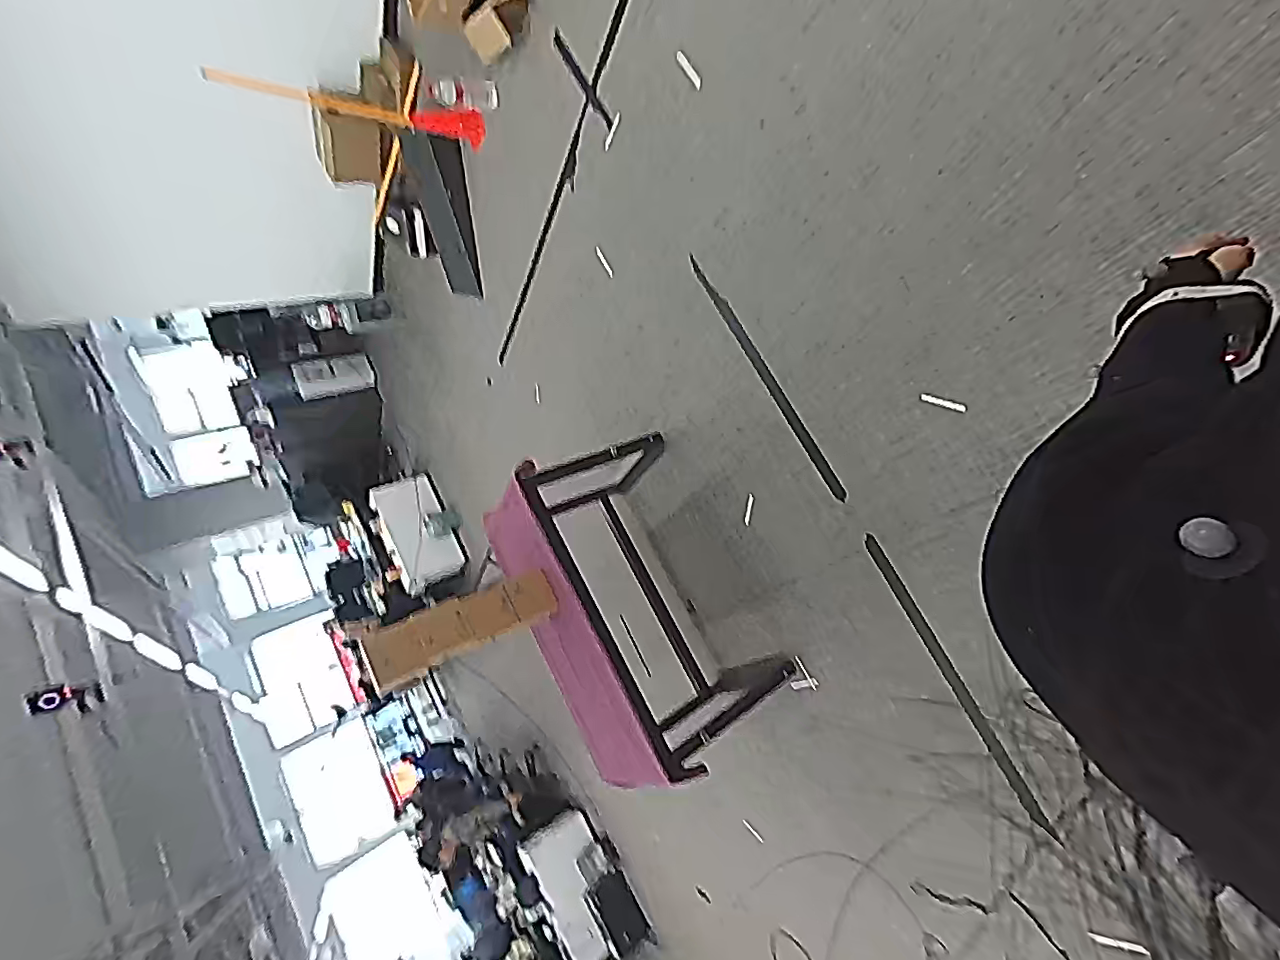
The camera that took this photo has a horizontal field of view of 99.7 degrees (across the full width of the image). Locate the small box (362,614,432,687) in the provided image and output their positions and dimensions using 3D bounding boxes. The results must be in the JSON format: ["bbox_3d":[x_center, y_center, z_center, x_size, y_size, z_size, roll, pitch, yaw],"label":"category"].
[{"bbox_3d":[-0.836,0.580,1.857,0.179,0.176,0.168,60,145,13],"label":"small box"}]

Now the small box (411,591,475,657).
[{"bbox_3d":[-0.708,0.521,1.939,0.168,0.176,0.179,60,146,13],"label":"small box"}]

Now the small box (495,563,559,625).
[{"bbox_3d":[-0.443,0.441,2.116,0.179,0.176,0.168,60,146,12],"label":"small box"}]
